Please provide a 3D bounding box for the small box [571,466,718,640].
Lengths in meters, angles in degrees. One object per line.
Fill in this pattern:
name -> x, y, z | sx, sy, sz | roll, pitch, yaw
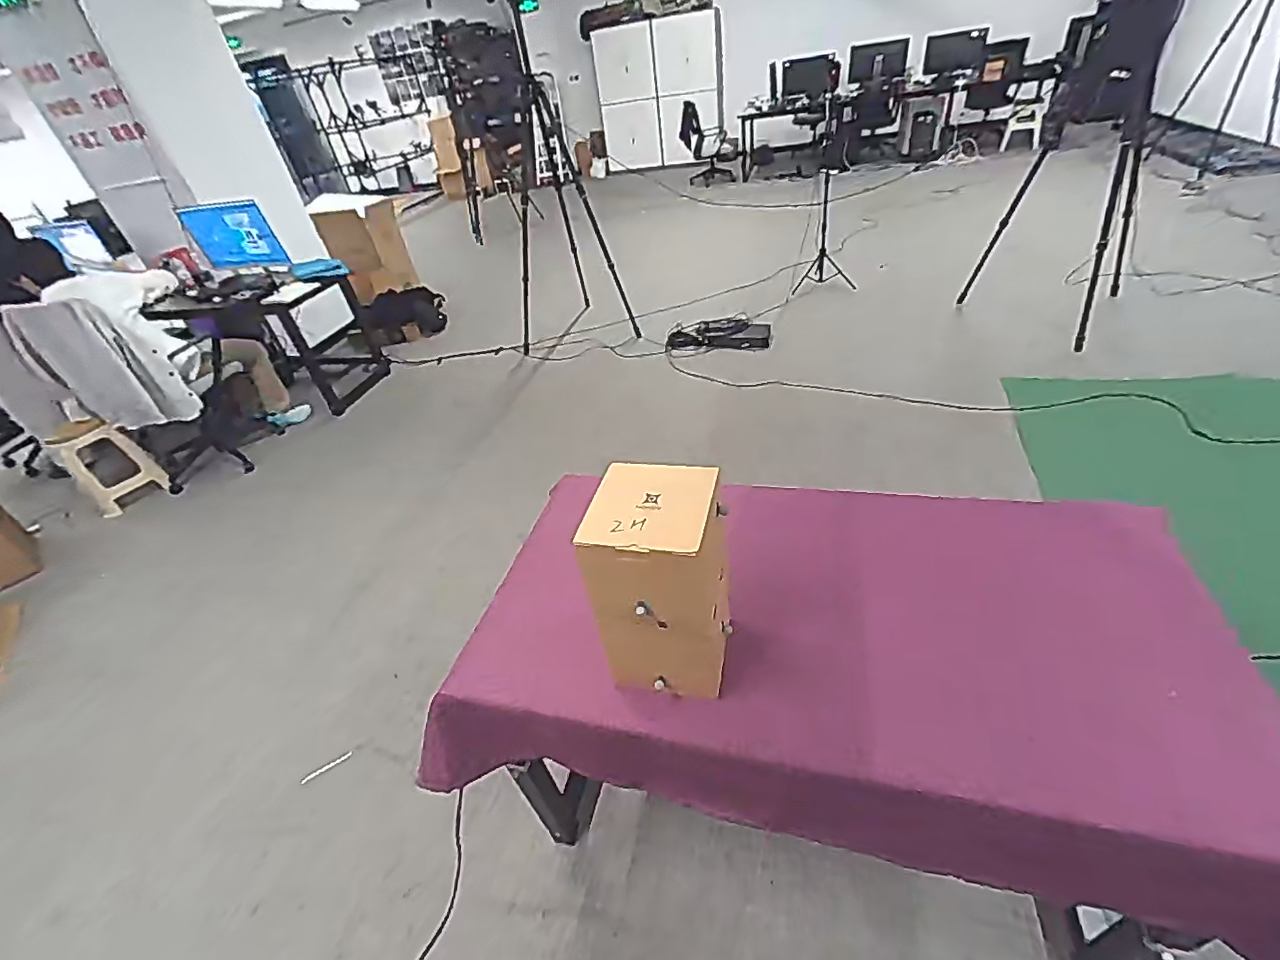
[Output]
small box -> 0.019, 0.100, 0.781 | 0.168, 0.176, 0.179 | 3, 40, 17

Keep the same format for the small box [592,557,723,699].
small box -> 0.040, 0.232, 0.878 | 0.179, 0.176, 0.168 | 3, 39, 15
